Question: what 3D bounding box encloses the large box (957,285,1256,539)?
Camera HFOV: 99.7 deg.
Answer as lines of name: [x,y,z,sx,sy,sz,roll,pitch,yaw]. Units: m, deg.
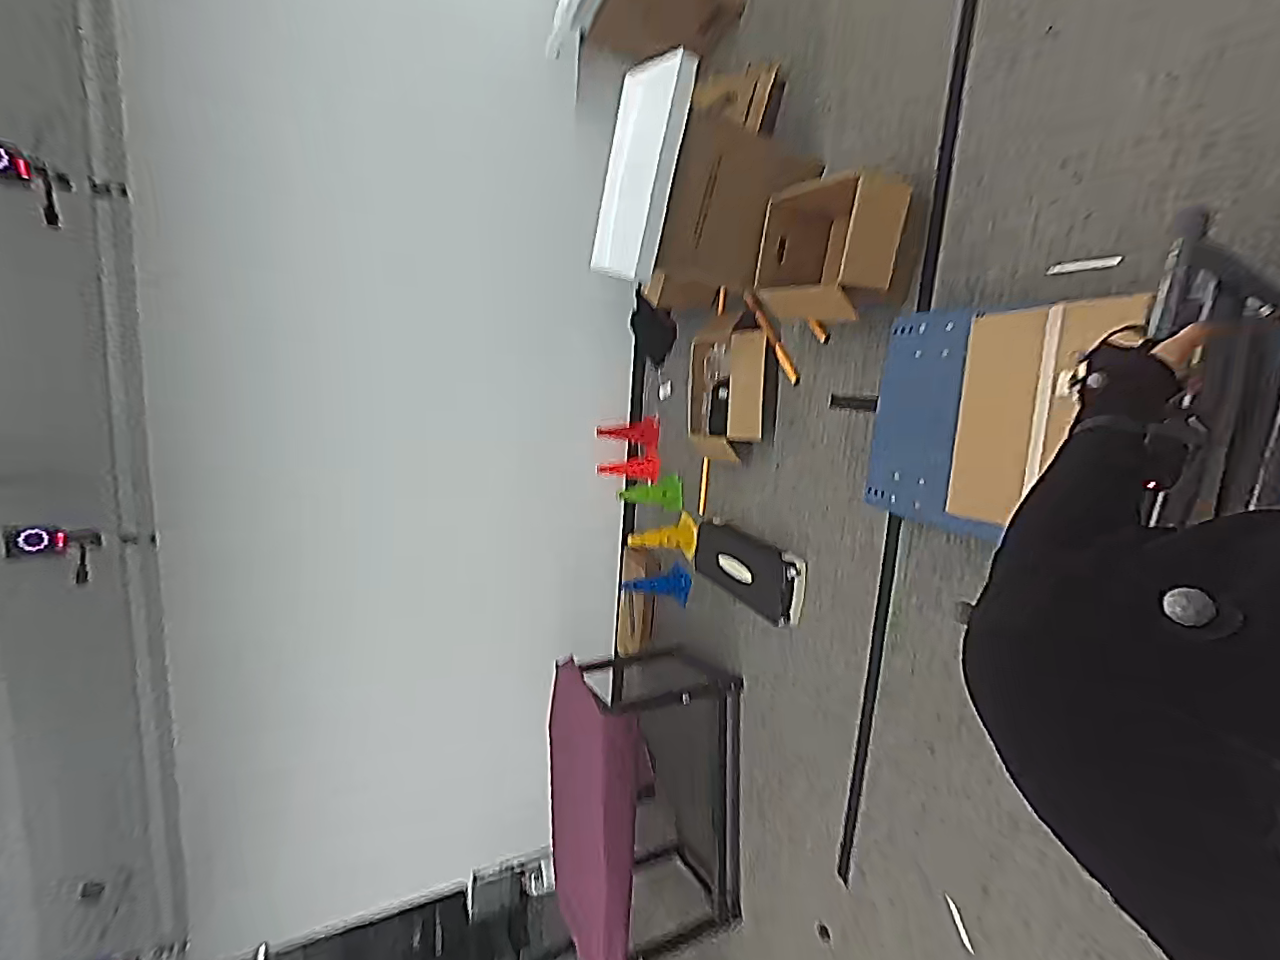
large box: [0.871,-0.114,1.035,0.320,0.320,0.408,16,104,62]
